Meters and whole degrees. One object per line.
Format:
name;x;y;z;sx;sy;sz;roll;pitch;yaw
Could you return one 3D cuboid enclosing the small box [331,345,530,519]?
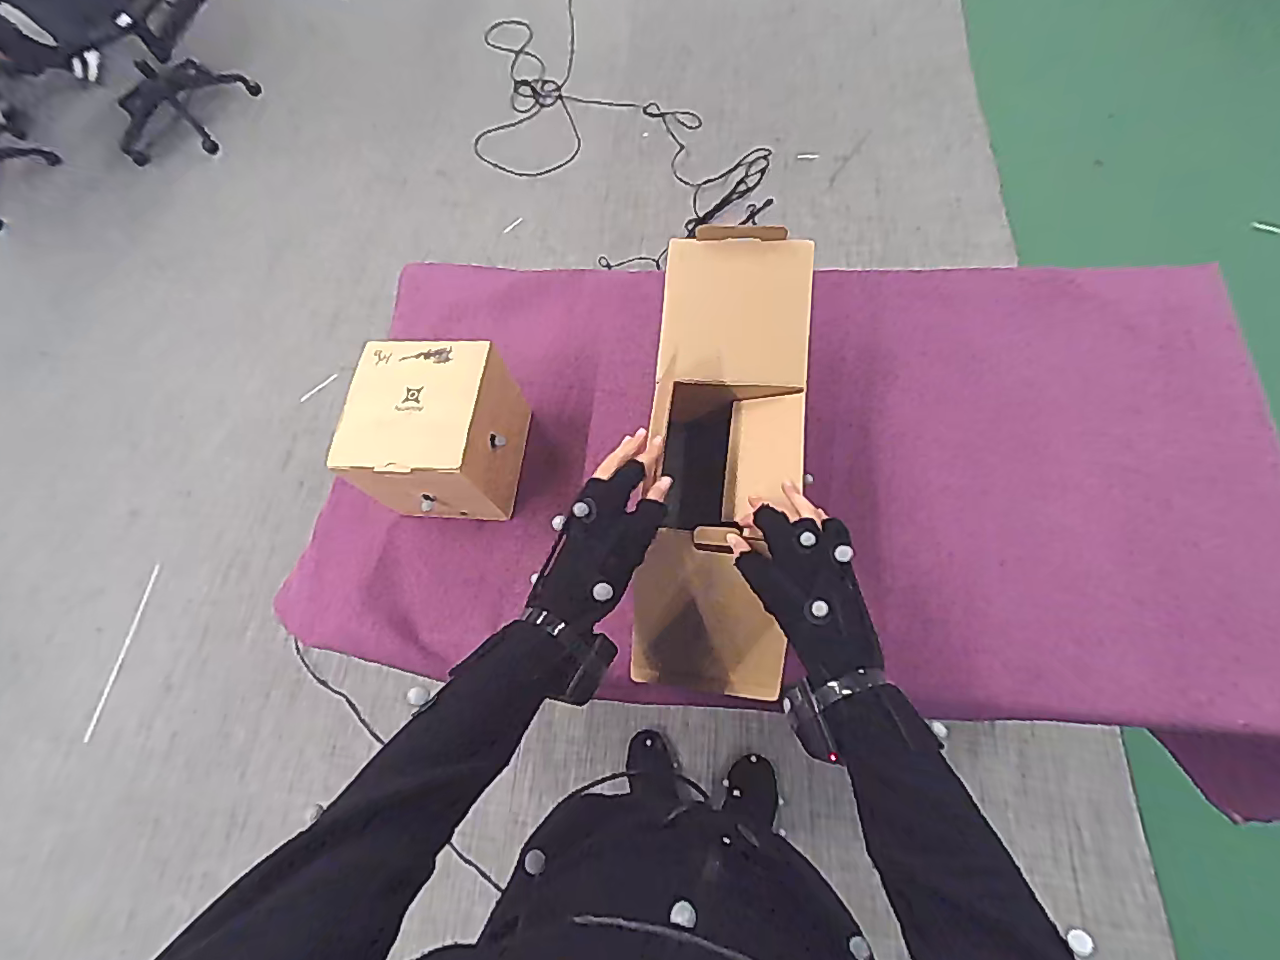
small box;-0.255;-0.055;0.707;0.168;0.176;0.179;2;68;8
